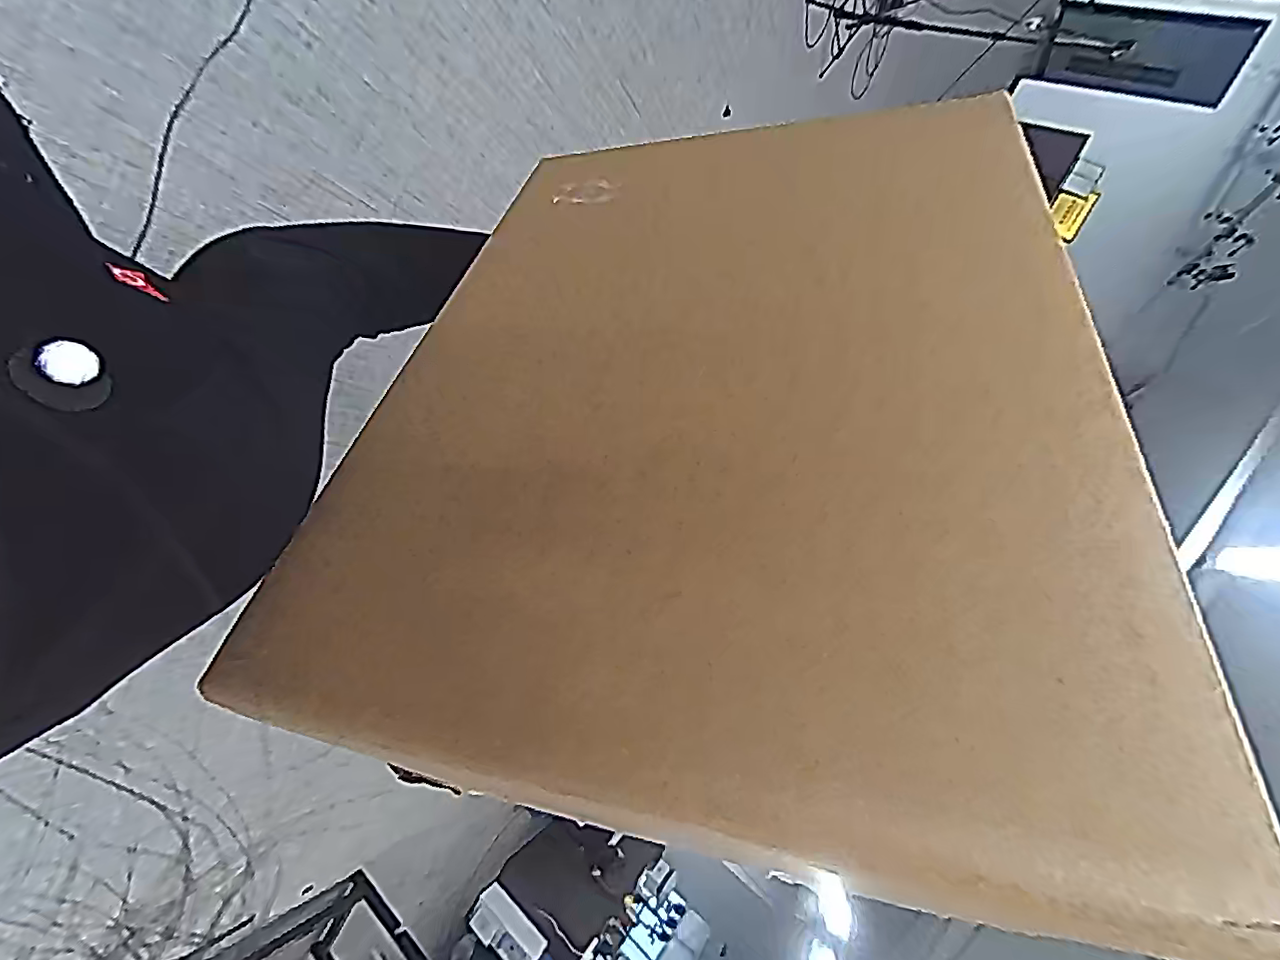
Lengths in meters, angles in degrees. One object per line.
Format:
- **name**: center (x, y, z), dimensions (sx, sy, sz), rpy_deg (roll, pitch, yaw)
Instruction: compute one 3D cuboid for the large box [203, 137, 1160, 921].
- **large box**: center (0.051, 0.020, 0.384), dimensions (0.320, 0.320, 0.408), rpy_deg (73, 28, -51)
